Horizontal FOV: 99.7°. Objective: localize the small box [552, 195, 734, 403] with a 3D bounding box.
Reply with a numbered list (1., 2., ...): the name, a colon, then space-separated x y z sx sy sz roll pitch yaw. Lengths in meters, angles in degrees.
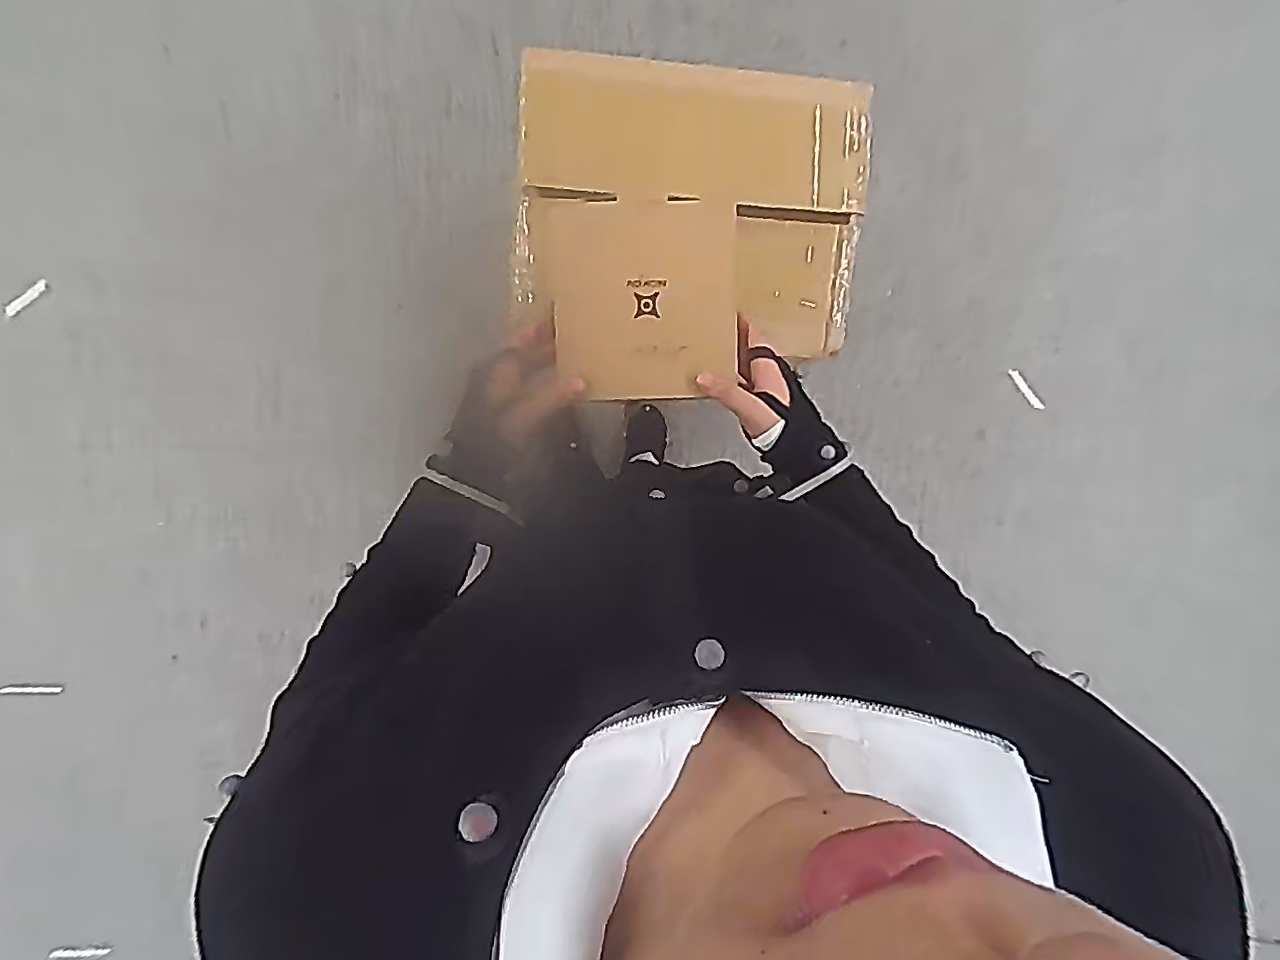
1. small box: -0.001 -0.173 0.565 0.168 0.176 0.179 -2 97 -3
